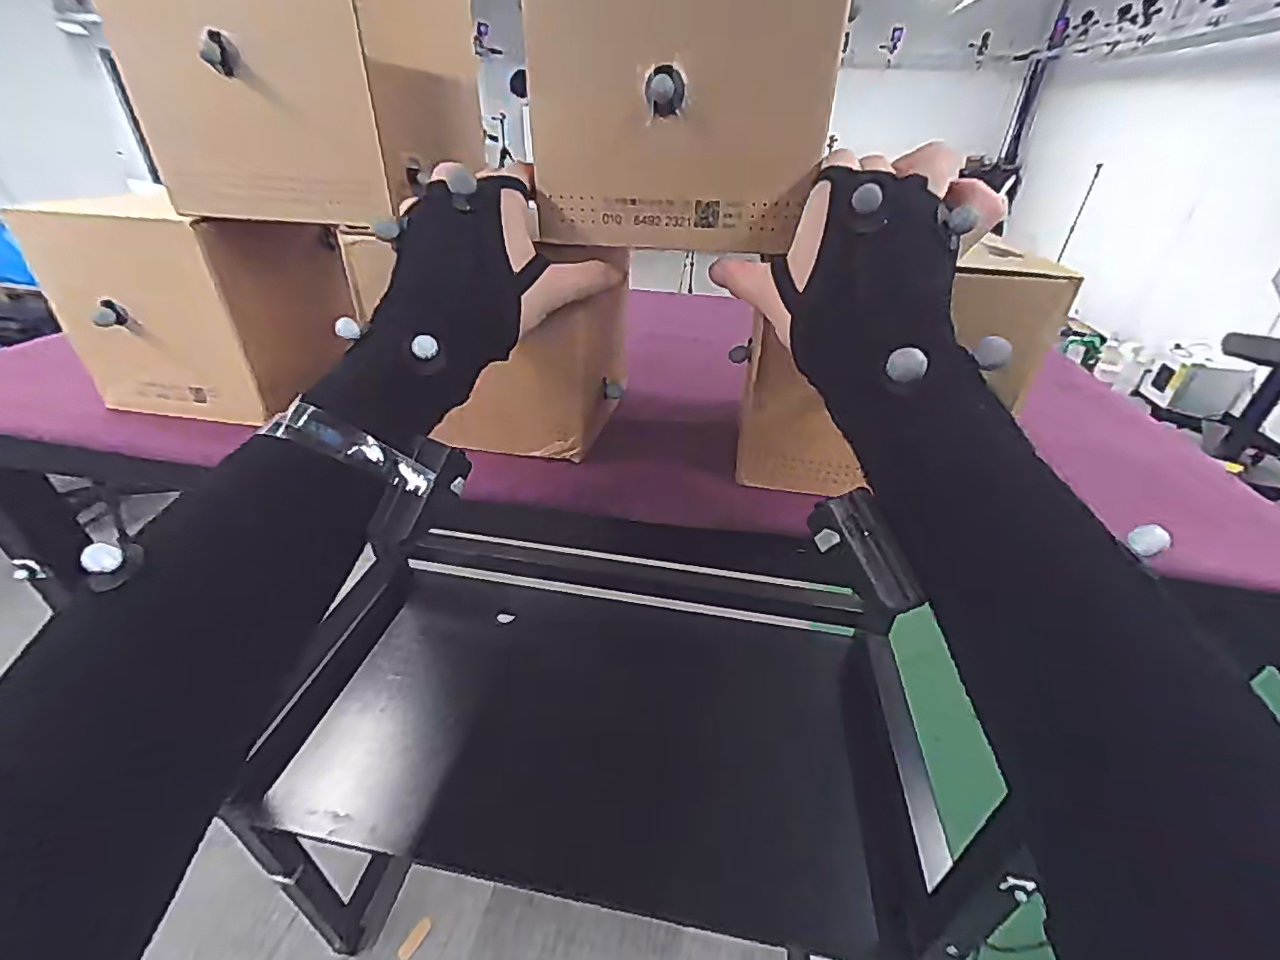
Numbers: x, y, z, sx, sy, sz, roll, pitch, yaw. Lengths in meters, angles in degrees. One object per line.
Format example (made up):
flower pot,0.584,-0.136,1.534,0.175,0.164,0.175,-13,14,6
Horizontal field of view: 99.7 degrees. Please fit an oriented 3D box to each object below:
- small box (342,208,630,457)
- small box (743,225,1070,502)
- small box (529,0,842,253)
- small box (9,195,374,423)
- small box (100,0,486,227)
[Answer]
small box,-0.110,-0.134,0.470,0.179,0.176,0.168,7,33,9
small box,0.176,-0.097,0.427,0.179,0.176,0.168,5,34,8
small box,0.034,-0.255,0.360,0.168,0.176,0.179,6,32,7
small box,-0.380,-0.164,0.505,0.168,0.176,0.179,7,32,7
small box,-0.232,-0.292,0.406,0.179,0.176,0.168,6,32,7
